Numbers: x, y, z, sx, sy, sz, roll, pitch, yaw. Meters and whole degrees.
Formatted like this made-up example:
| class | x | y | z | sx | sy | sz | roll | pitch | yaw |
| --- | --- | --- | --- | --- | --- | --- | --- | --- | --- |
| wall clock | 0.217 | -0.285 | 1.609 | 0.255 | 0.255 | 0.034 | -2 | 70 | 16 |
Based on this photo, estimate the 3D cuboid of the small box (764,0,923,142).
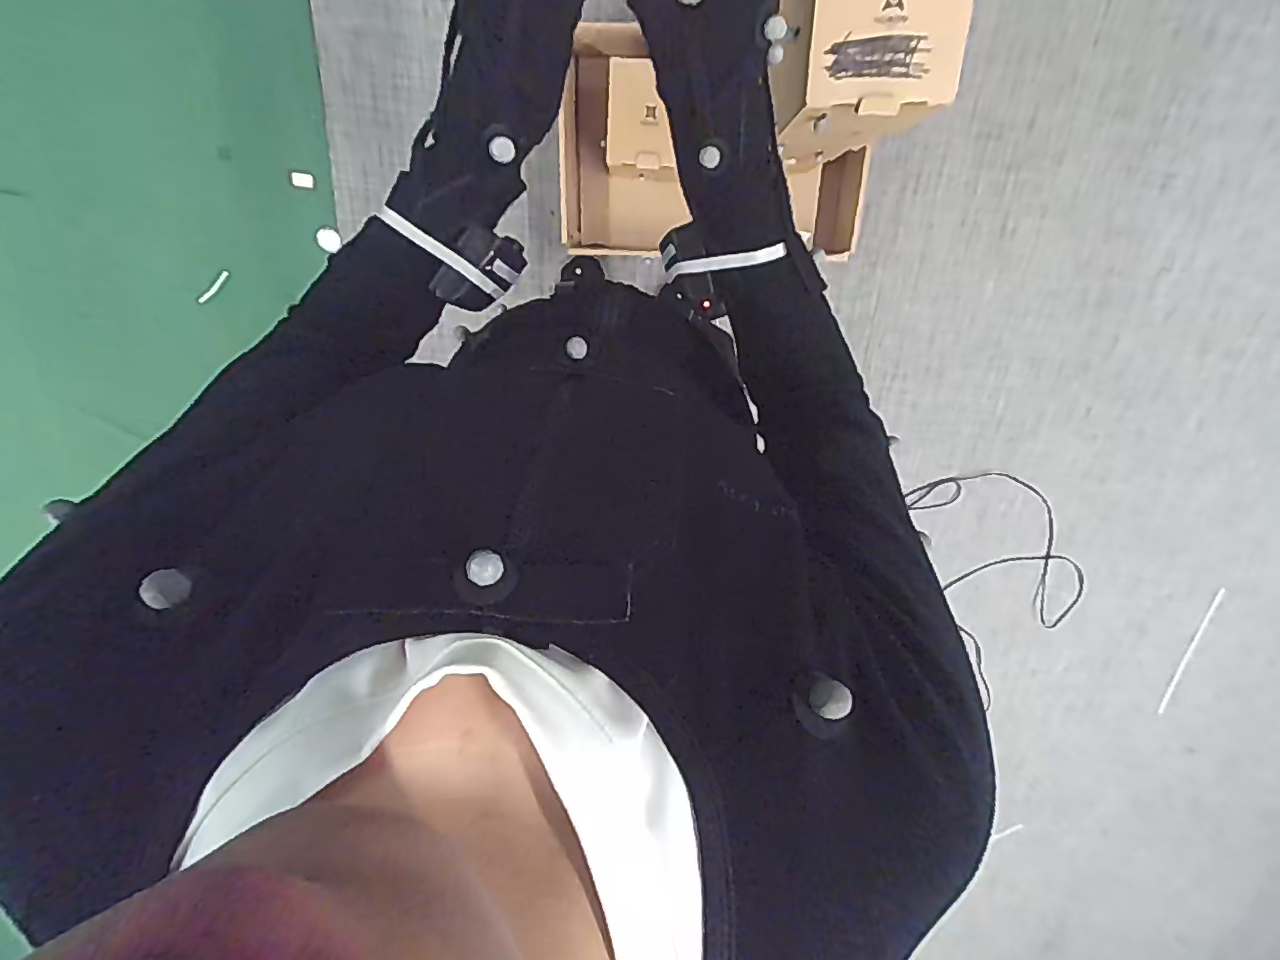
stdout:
| class | x | y | z | sx | sy | sz | roll | pitch | yaw |
| --- | --- | --- | --- | --- | --- | --- | --- | --- | --- |
| small box | 0.281 | -0.604 | 0.781 | 0.168 | 0.176 | 0.179 | 3 | 113 | 1 |

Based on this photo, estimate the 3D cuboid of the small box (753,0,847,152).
| class | x | y | z | sx | sy | sz | roll | pitch | yaw |
| --- | --- | --- | --- | --- | --- | --- | --- | --- | --- |
| small box | 0.290 | -0.667 | 0.914 | 0.168 | 0.176 | 0.179 | 3 | 113 | 2 |
